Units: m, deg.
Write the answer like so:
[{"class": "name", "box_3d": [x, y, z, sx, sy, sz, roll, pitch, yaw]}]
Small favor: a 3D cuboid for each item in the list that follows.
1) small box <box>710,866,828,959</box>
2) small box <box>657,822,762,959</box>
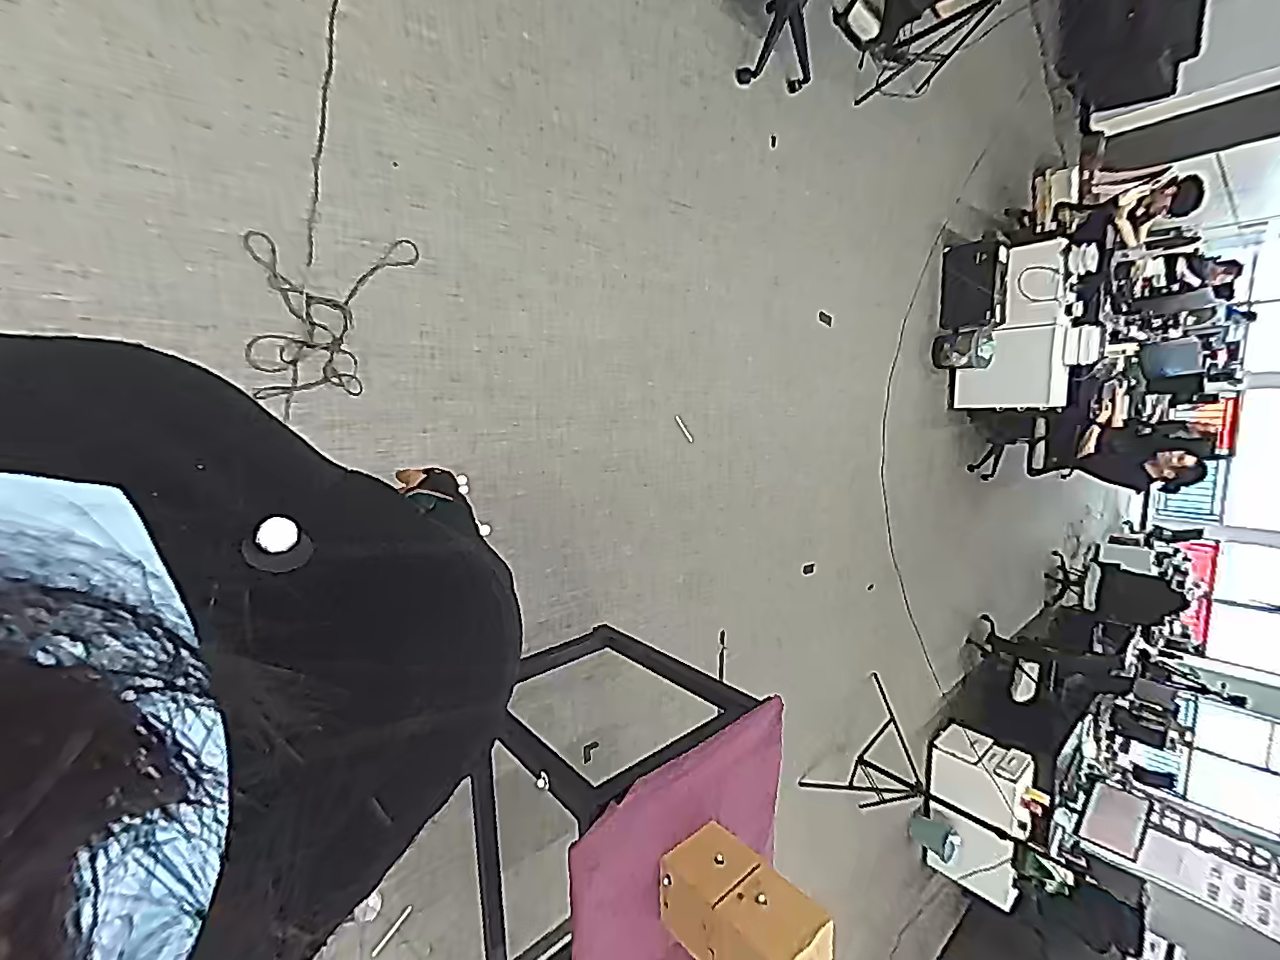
[{"class": "small box", "box_3d": [0.253, 0.937, 1.083, 0.168, 0.176, 0.179, -8, 101, -40]}, {"class": "small box", "box_3d": [0.153, 0.923, 1.213, 0.179, 0.176, 0.168, -7, 101, -40]}]
